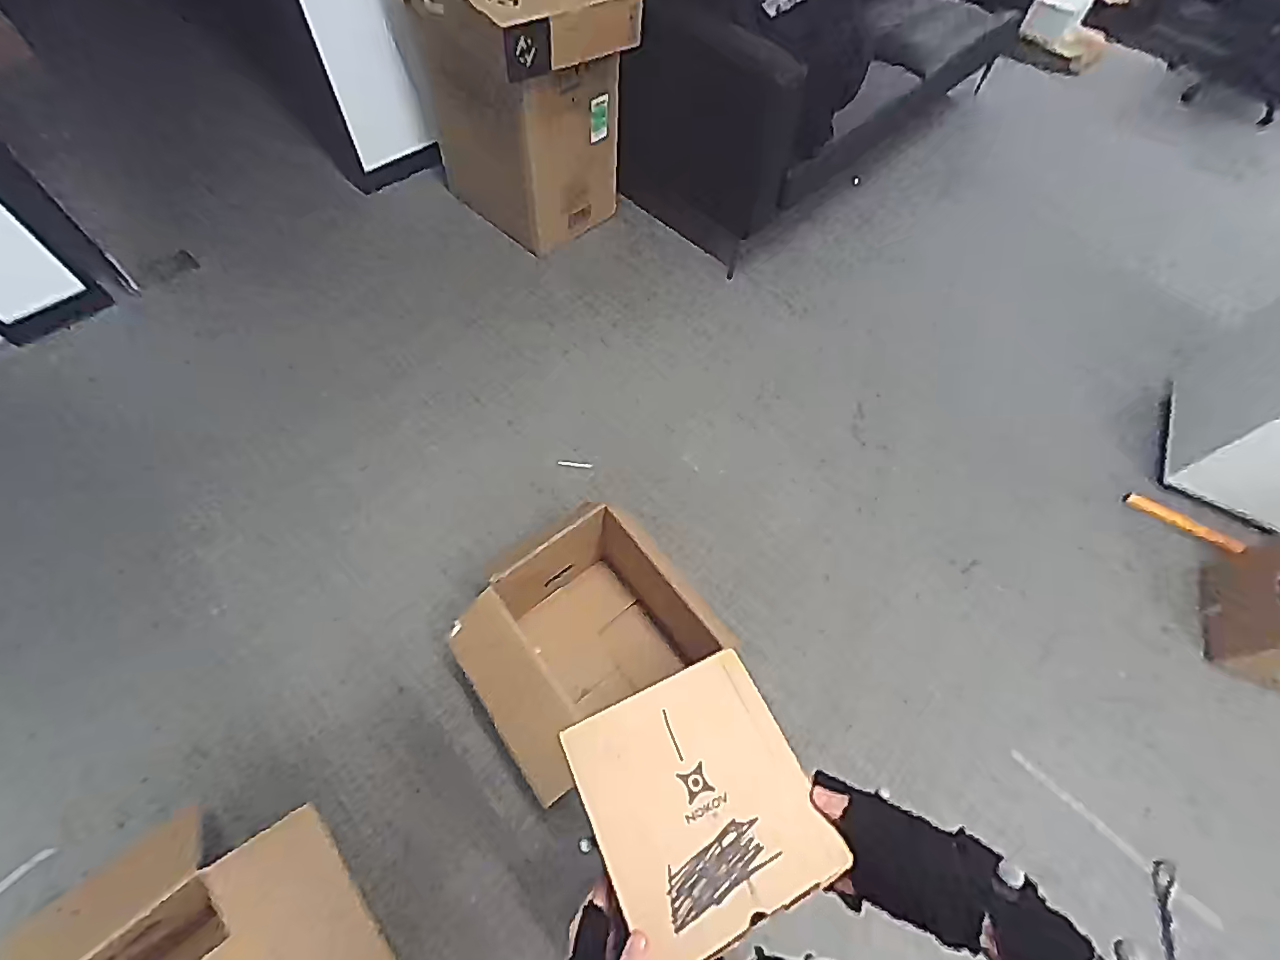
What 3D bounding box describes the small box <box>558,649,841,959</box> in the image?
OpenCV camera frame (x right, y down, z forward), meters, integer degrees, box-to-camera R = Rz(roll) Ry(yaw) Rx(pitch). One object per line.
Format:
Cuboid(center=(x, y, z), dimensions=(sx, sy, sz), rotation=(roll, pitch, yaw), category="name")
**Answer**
Cuboid(center=(0.039, 0.283, 0.481), dimensions=(0.168, 0.176, 0.179), rotation=(-19, 58, -15), category="small box")
